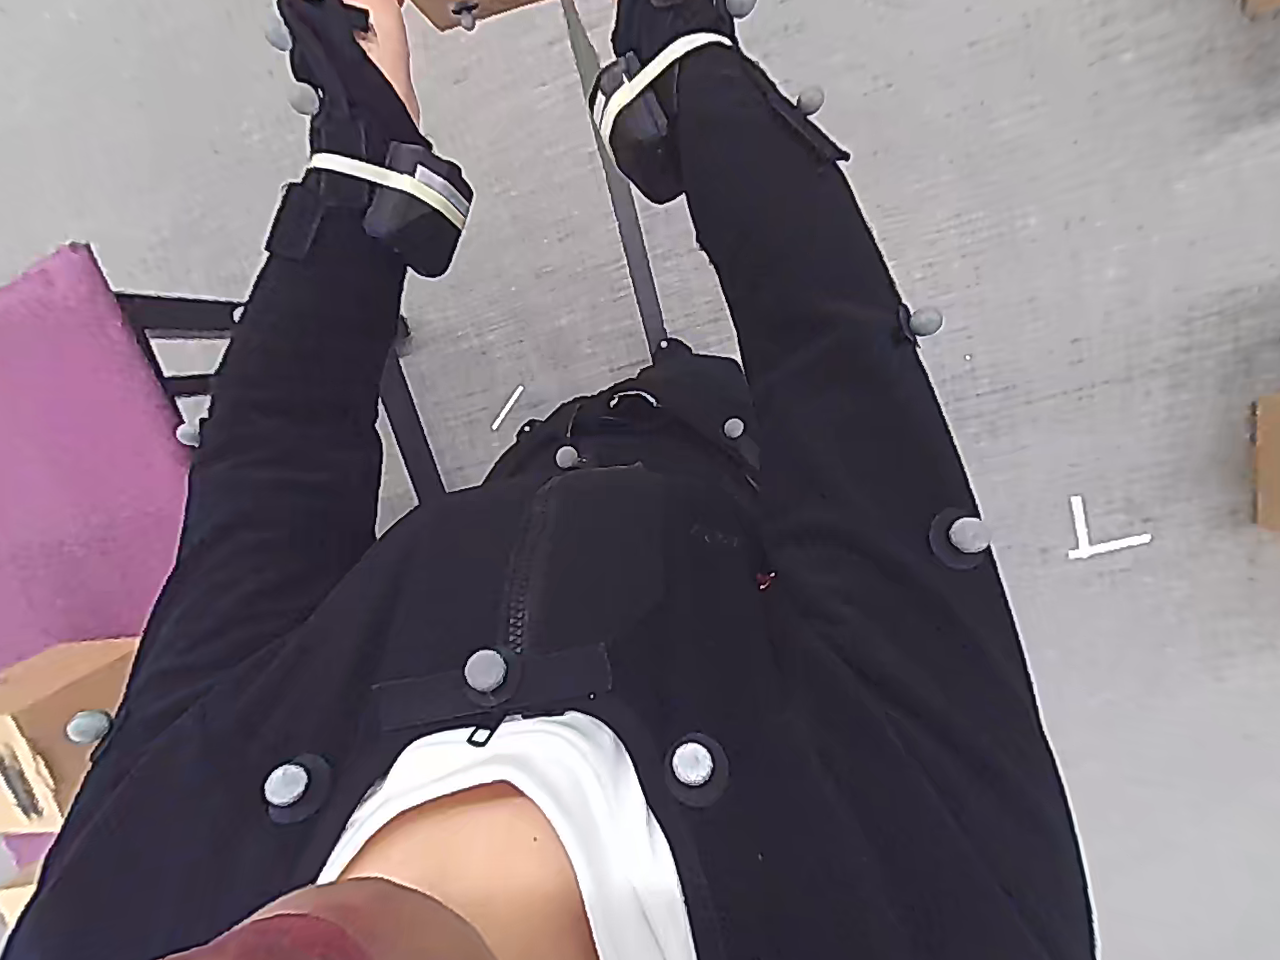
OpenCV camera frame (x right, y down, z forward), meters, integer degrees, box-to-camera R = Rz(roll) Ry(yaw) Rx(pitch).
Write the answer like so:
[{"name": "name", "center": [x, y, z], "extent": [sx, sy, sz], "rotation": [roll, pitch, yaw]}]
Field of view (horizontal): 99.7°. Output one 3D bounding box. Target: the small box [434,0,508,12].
[{"name": "small box", "center": [-0.108, -0.450, 0.351], "extent": [0.168, 0.176, 0.179], "rotation": [-12, 111, 6]}]
